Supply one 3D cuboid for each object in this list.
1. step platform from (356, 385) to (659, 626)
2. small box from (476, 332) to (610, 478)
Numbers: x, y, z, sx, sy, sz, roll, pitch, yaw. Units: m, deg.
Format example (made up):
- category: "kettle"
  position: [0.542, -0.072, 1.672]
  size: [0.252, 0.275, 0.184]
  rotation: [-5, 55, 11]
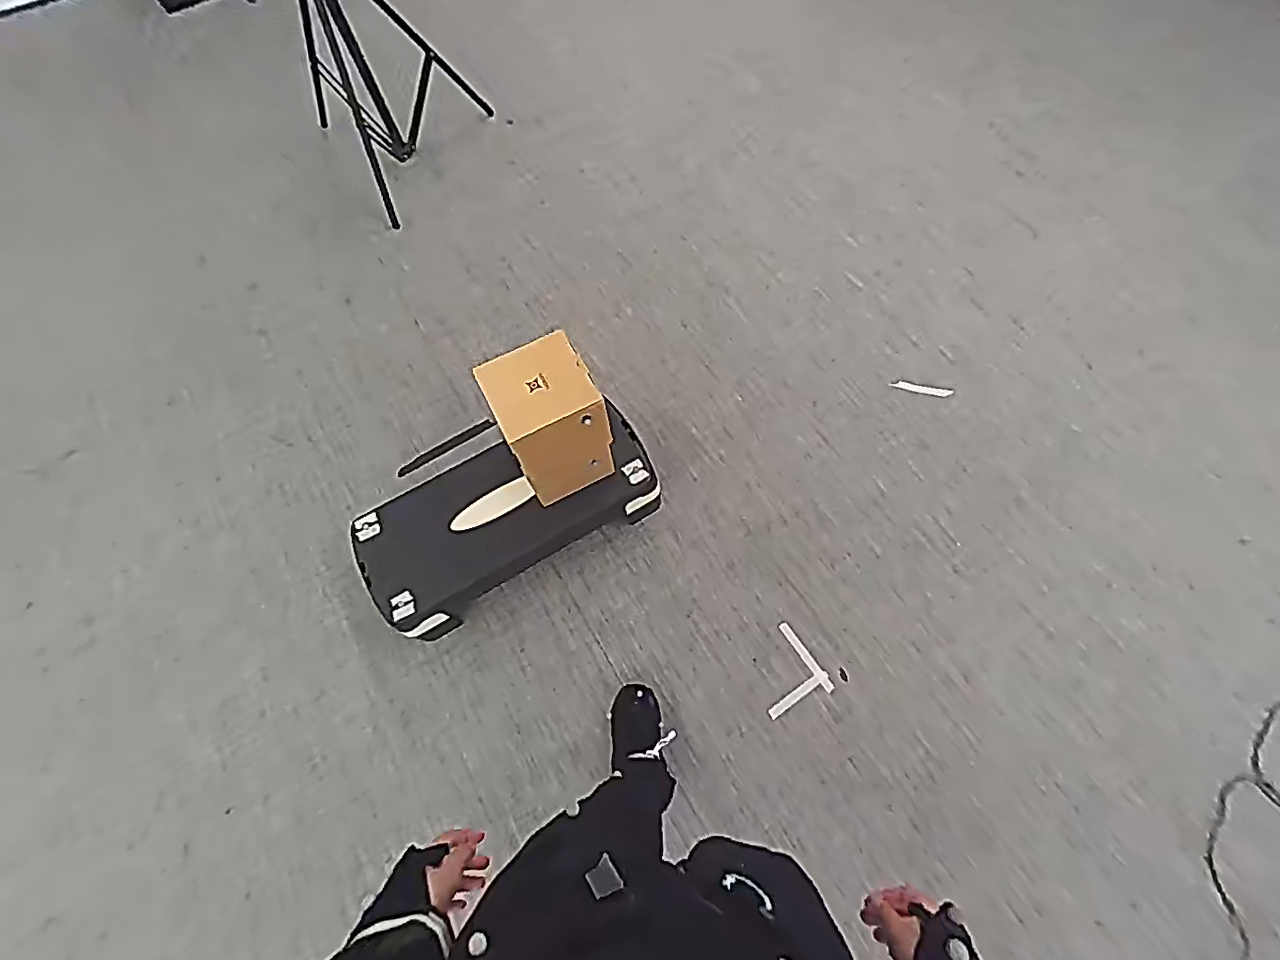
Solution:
- category: "step platform"
  position: [-0.297, 0.054, 1.282]
  size: [0.684, 0.204, 0.286]
  rotation: [-30, 70, -9]
- category: "small box"
  position: [-0.168, -0.129, 0.988]
  size: [0.179, 0.176, 0.168]
  rotation: [-27, 70, -9]
